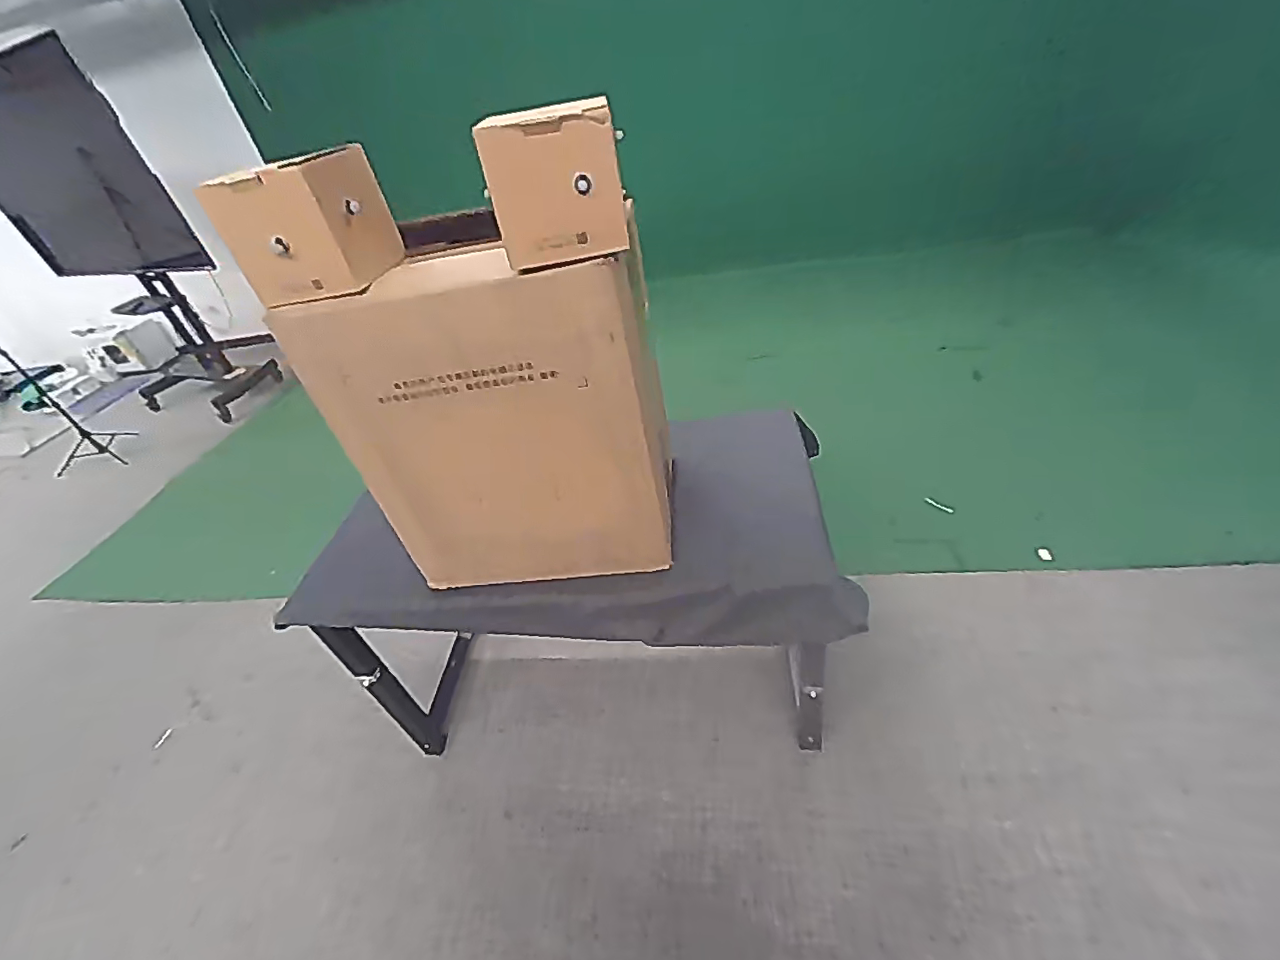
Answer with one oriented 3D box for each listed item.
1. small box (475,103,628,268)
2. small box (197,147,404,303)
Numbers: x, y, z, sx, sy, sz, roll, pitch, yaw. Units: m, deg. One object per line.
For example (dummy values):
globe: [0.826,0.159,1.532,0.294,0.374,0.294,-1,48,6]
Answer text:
small box: [-0.112,-0.406,0.753,0.168,0.176,0.179,-9,37,1]
small box: [-0.491,-0.379,0.818,0.168,0.176,0.179,-6,39,9]
